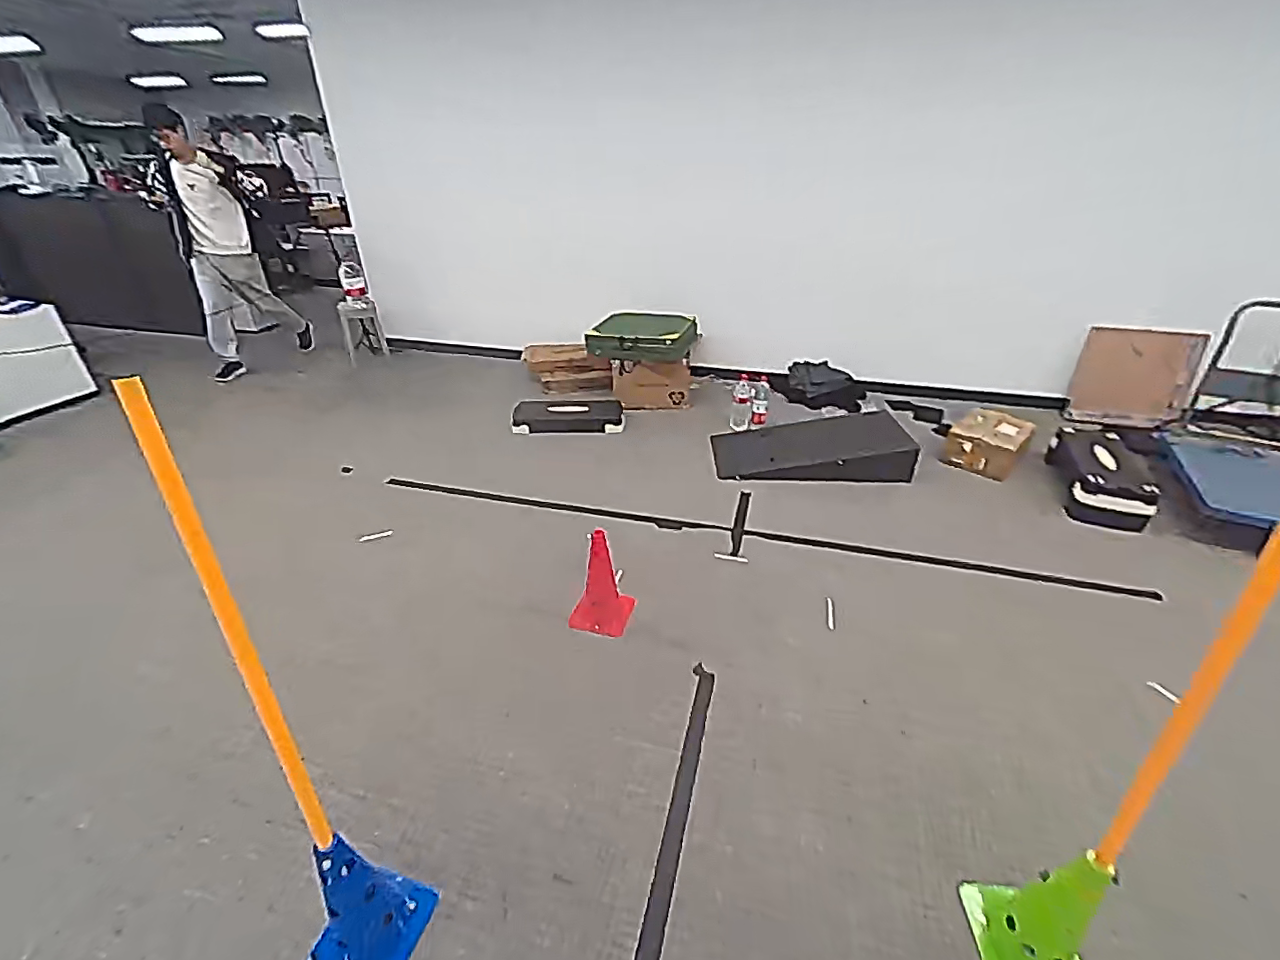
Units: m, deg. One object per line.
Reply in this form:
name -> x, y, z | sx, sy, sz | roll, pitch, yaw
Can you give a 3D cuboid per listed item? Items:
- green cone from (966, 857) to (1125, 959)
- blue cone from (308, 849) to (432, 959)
green cone -> 0.807, 0.816, 1.028 | 0.200, 0.368, 0.202 | 2, 32, 4
blue cone -> -0.558, 0.818, 1.047 | 0.193, 0.380, 0.192 | 9, 32, 16
